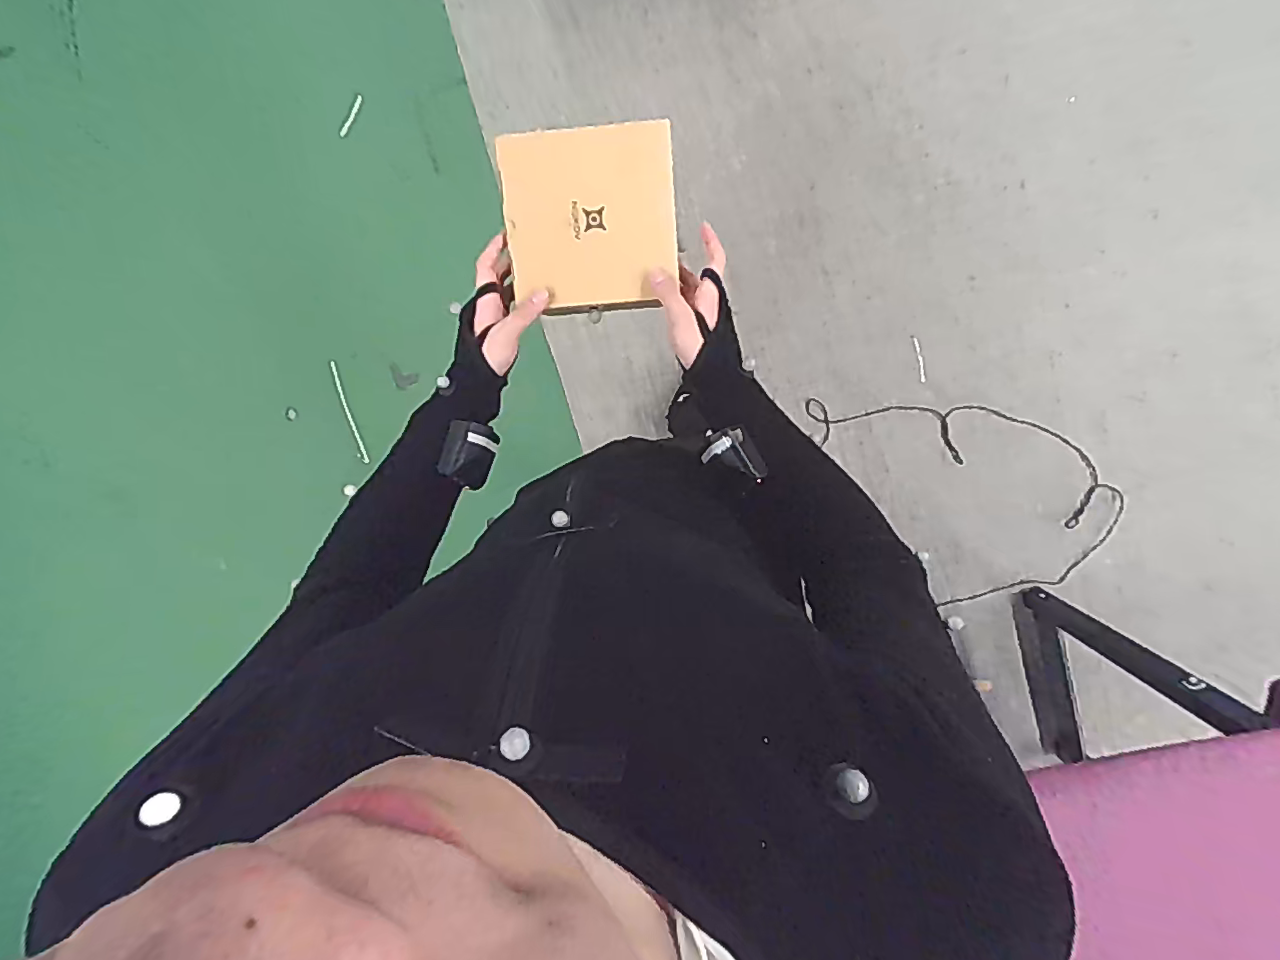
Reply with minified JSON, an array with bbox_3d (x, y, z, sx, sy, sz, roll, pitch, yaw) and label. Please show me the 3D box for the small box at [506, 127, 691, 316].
[{"bbox_3d":[-0.039,-0.280,0.621,0.179,0.176,0.168,-4,105,3],"label":"small box"}]
